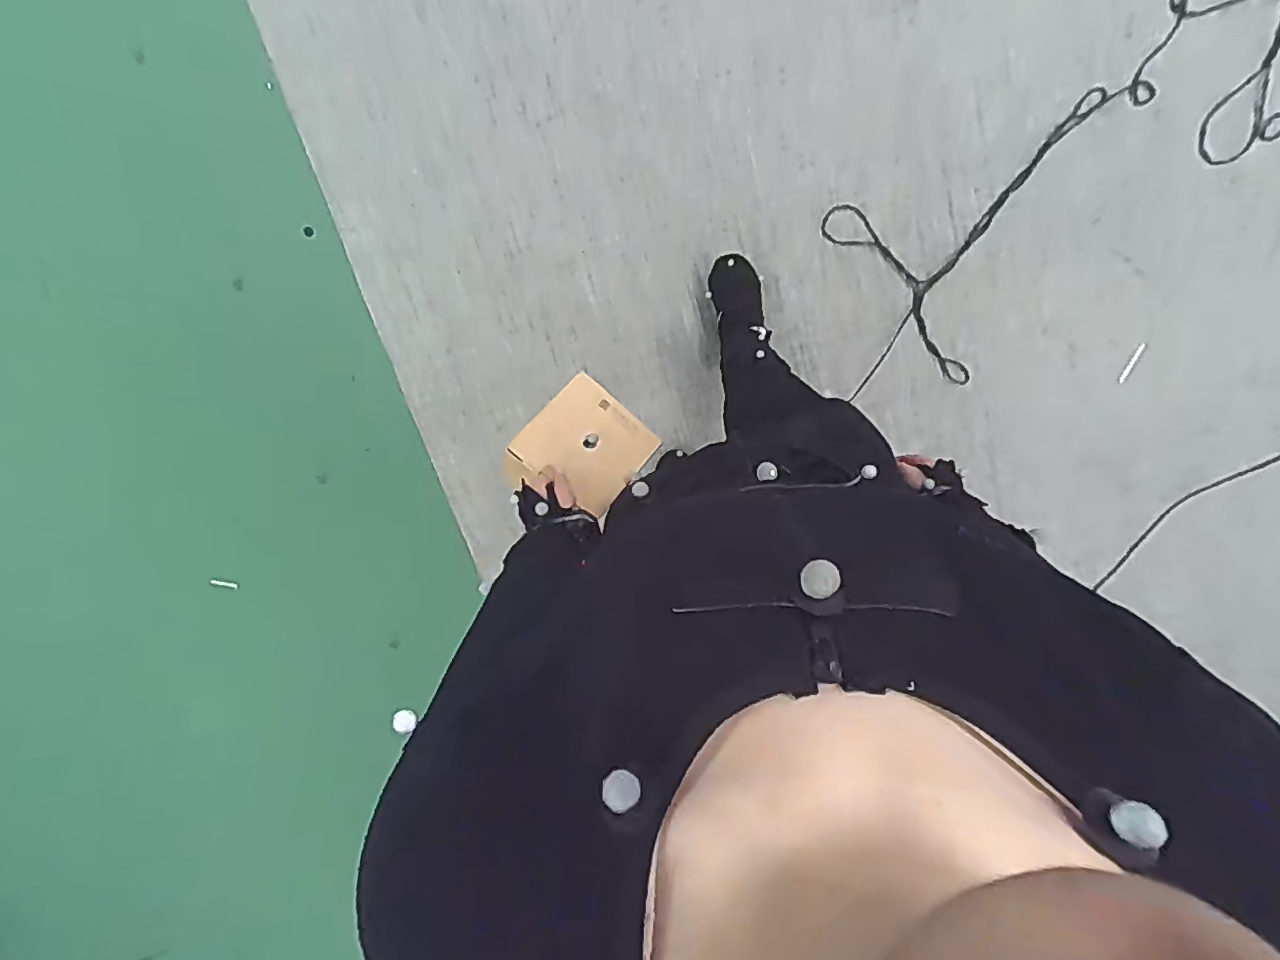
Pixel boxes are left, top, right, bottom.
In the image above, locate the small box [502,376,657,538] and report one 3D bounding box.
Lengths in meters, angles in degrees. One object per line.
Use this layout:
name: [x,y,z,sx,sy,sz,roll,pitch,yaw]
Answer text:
small box: [-0.096,-0.034,0.860,0.168,0.179,0.176,40,68,-5]
